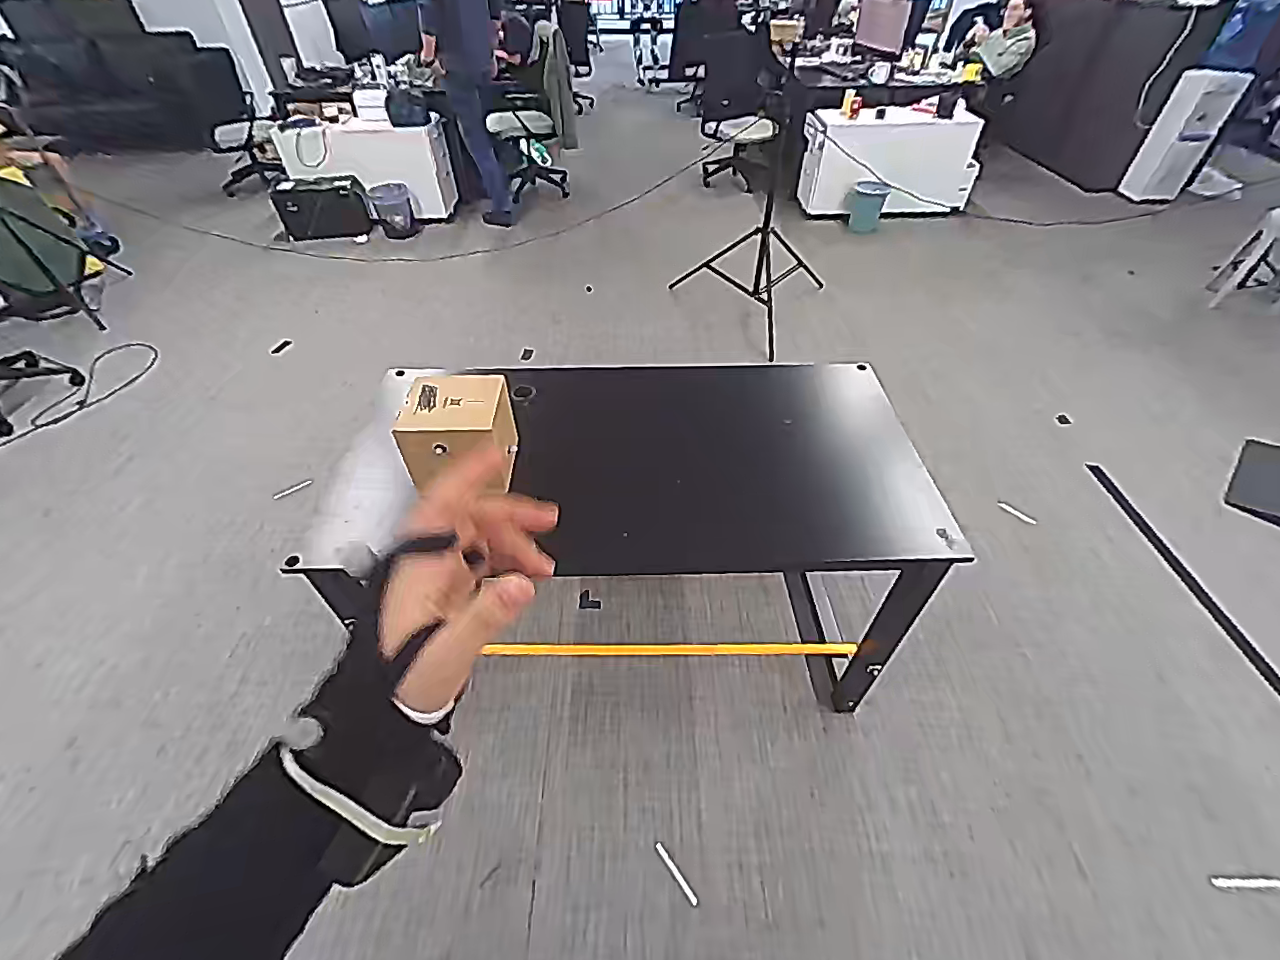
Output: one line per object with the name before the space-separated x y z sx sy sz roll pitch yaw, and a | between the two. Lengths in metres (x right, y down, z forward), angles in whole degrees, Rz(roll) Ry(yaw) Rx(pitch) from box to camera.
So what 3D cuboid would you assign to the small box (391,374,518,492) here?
small box | -0.346 -0.088 1.047 0.179 0.176 0.168 -1 46 -1
